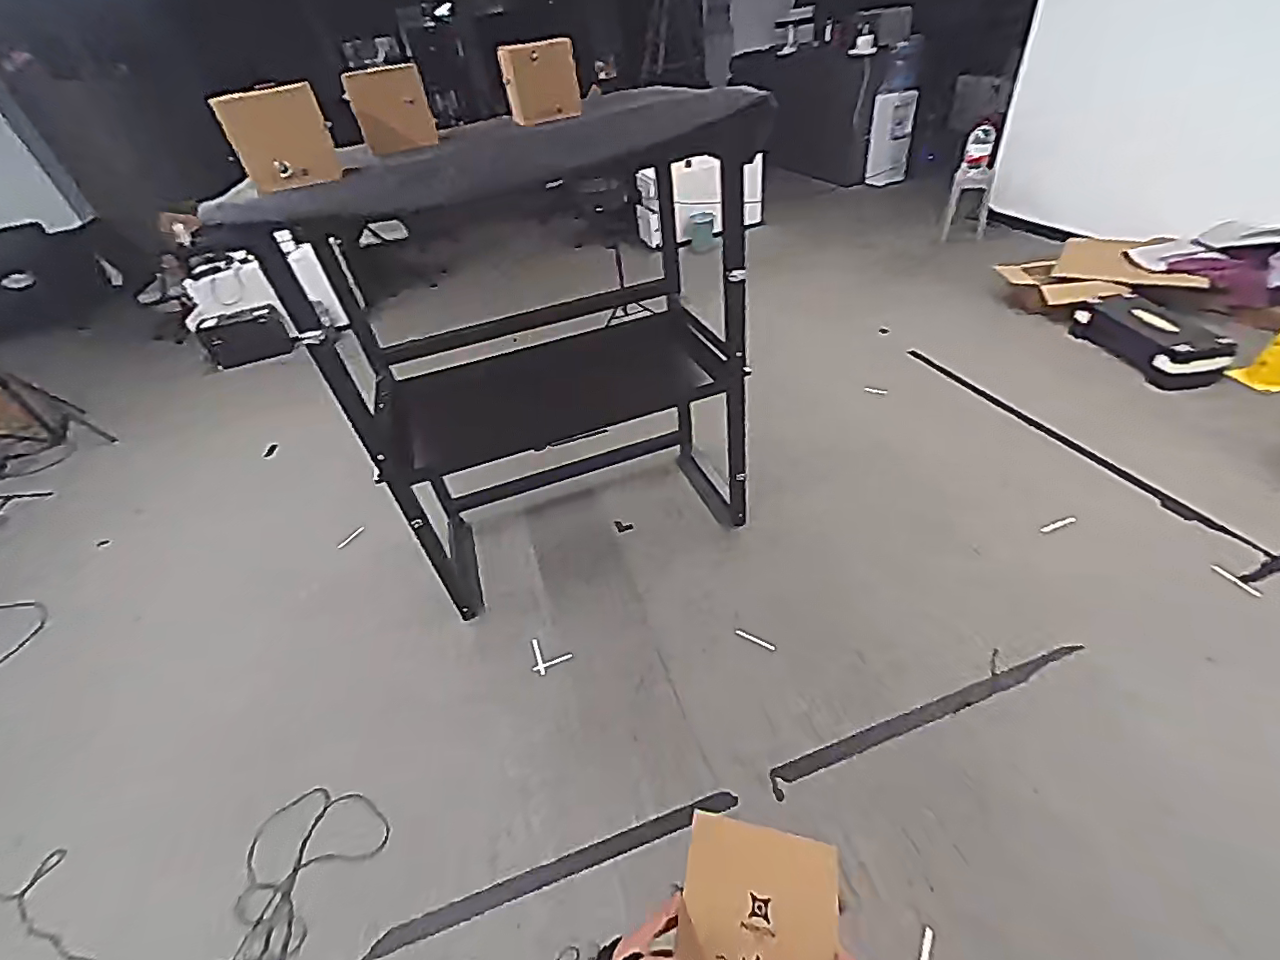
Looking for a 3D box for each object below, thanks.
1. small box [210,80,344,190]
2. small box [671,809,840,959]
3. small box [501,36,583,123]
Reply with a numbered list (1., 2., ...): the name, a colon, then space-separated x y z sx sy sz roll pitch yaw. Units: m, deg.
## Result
1. small box: -0.742 -0.720 1.130 0.168 0.176 0.179 -20 41 -12
2. small box: 0.125 0.516 0.617 0.168 0.176 0.179 7 43 11
3. small box: -0.264 -1.081 1.464 0.168 0.176 0.179 -18 41 -10
